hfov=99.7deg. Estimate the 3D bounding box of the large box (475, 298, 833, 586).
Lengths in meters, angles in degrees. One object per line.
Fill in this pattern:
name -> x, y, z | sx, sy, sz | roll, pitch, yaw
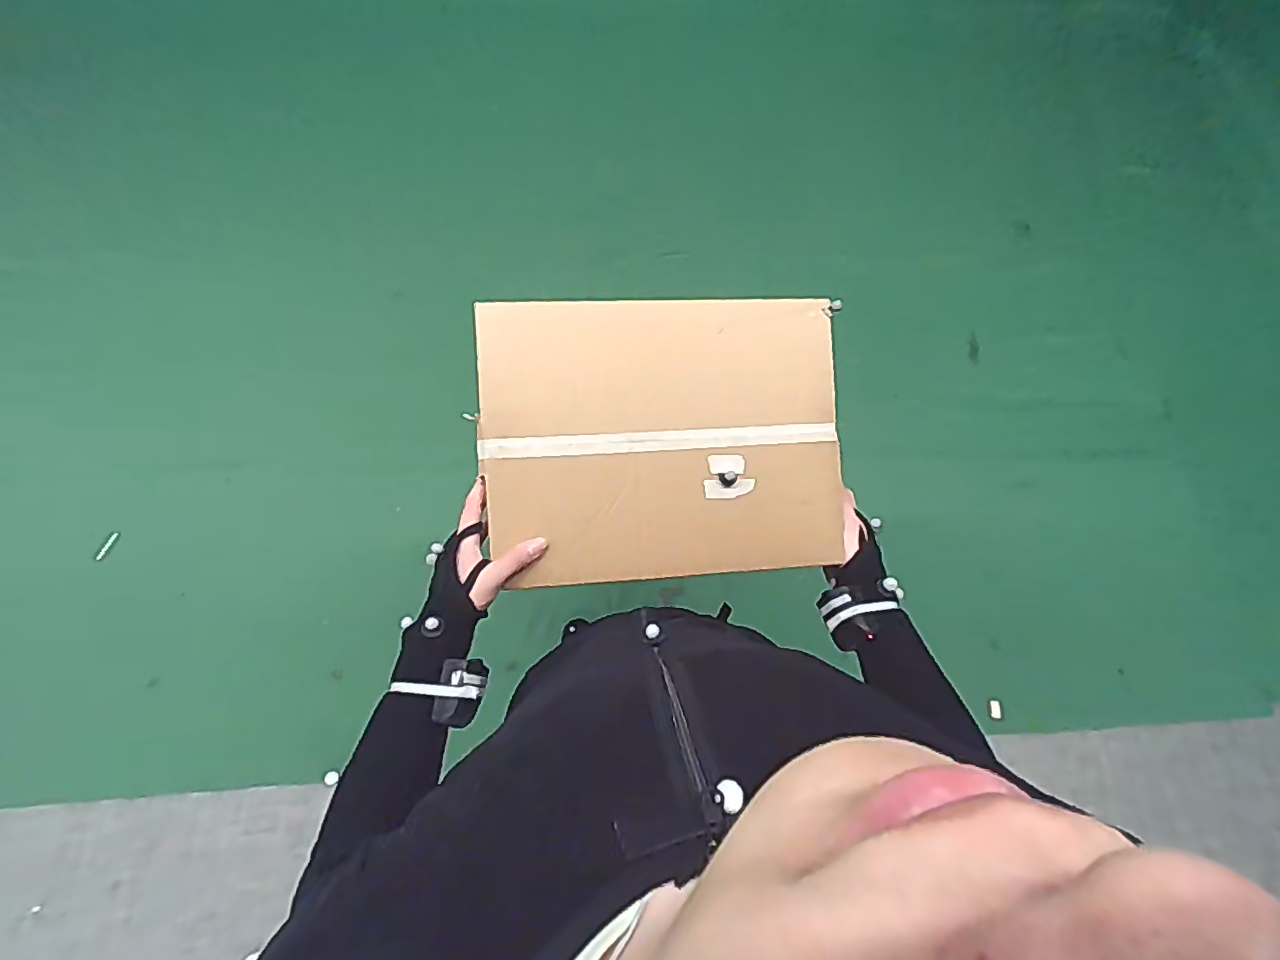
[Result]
large box -> 0.004, -0.049, 0.764 | 0.408, 0.320, 0.320 | -3, 91, -8
